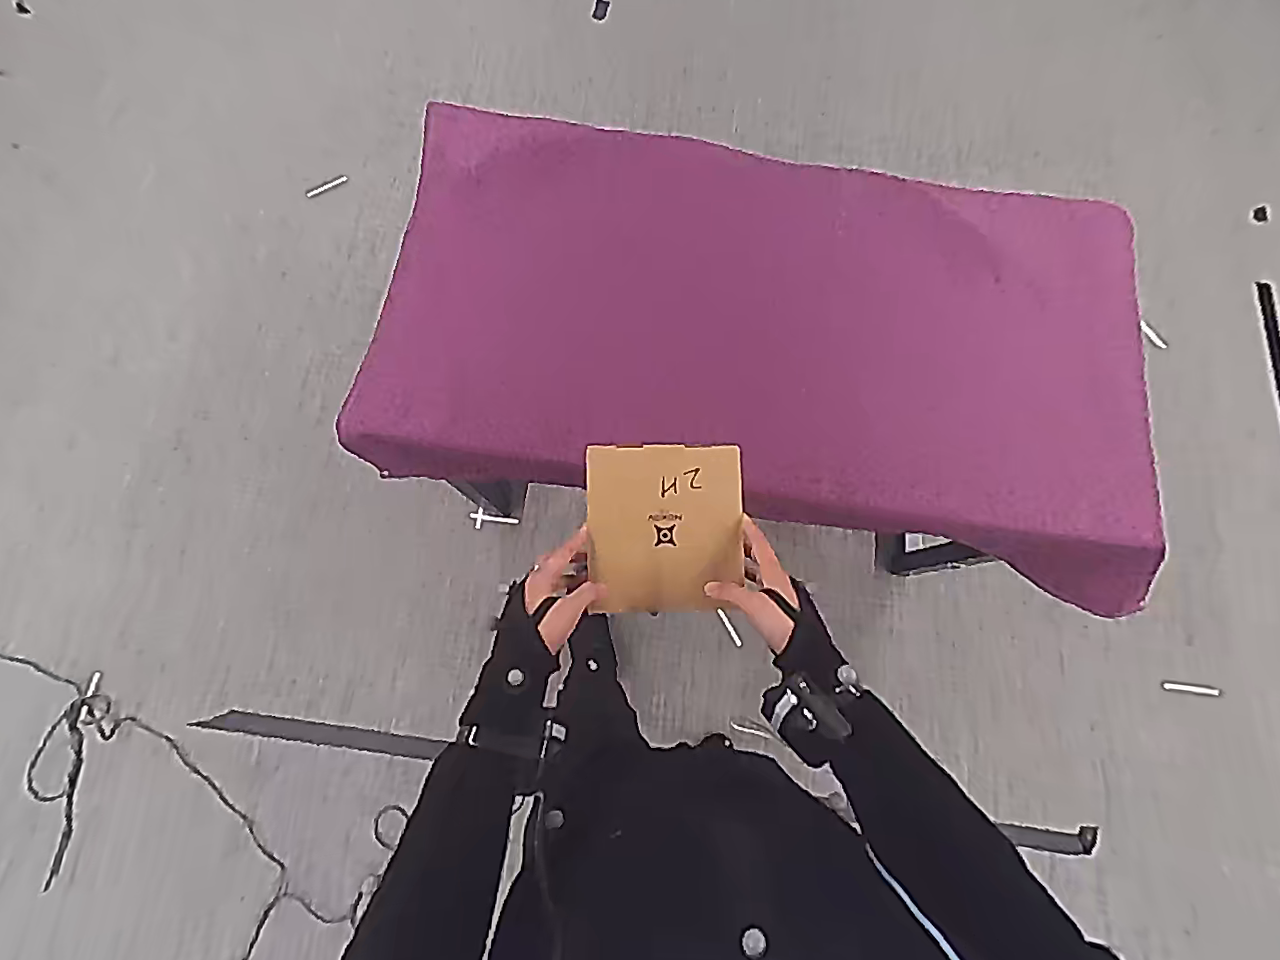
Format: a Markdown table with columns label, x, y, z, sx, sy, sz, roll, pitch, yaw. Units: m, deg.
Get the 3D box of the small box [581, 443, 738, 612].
| label | x | y | z | sx | sy | sz | roll | pitch | yaw |
| --- | --- | --- | --- | --- | --- | --- | --- | --- | --- |
| small box | 0.016 | 0.055 | 0.640 | 0.168 | 0.176 | 0.179 | 0 | 84 | -5 |
